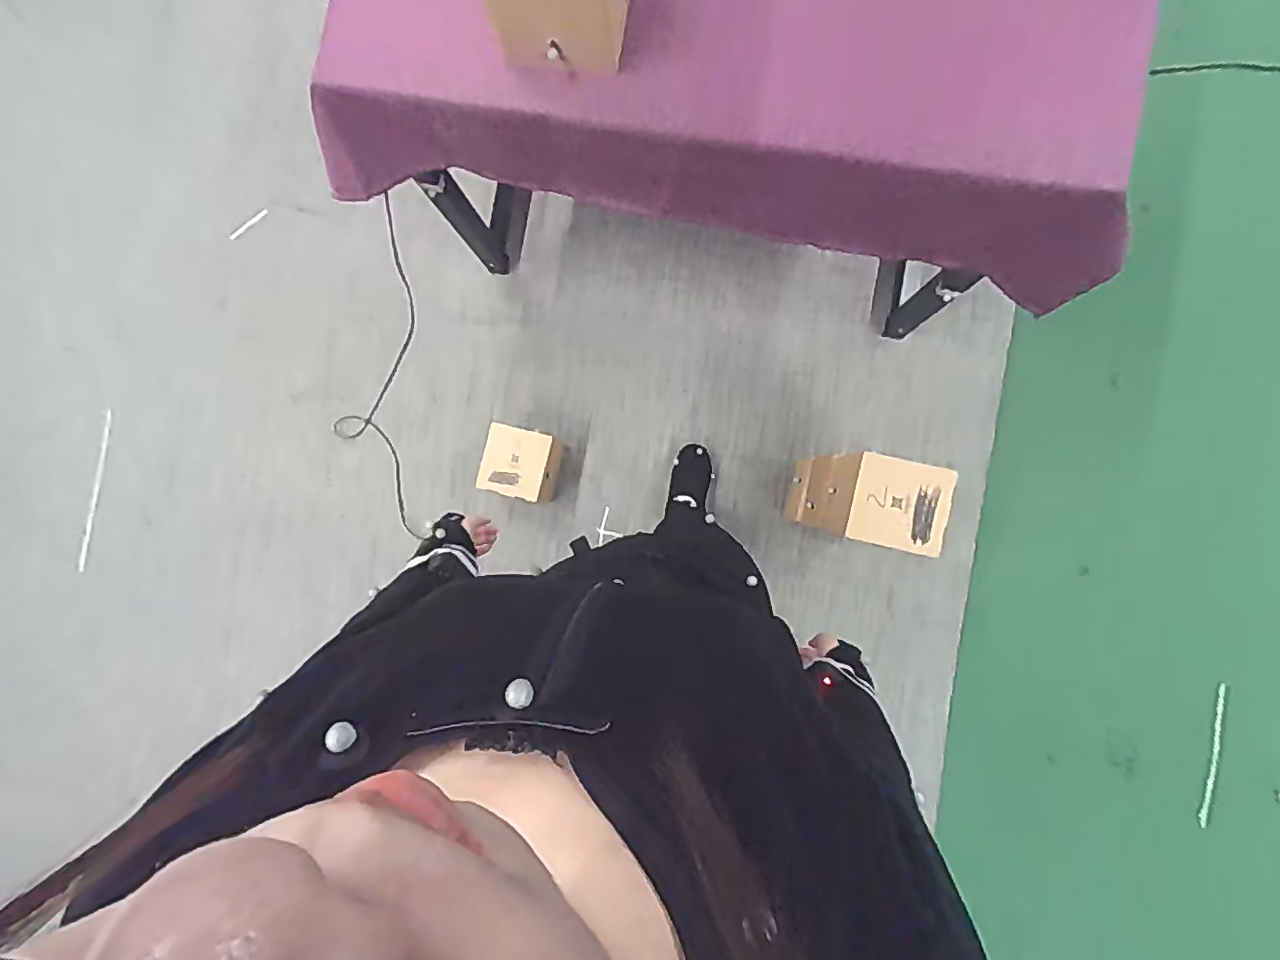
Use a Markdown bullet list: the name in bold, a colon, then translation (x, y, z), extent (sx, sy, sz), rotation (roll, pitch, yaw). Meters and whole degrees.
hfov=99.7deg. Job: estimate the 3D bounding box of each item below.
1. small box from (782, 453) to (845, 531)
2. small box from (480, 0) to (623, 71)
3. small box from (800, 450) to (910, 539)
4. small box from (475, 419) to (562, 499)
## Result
- **small box**: translation (0.482, 0.035, 1.403), extent (0.179, 0.176, 0.168), rotation (15, 89, 3)
- **small box**: translation (-0.115, -0.700, 0.732), extent (0.179, 0.176, 0.168), rotation (9, 88, 3)
- **small box**: translation (0.481, 0.033, 1.240), extent (0.179, 0.176, 0.168), rotation (12, 90, 3)
- **small box**: translation (-0.318, -0.050, 1.453), extent (0.168, 0.176, 0.179), rotation (14, 88, 3)
